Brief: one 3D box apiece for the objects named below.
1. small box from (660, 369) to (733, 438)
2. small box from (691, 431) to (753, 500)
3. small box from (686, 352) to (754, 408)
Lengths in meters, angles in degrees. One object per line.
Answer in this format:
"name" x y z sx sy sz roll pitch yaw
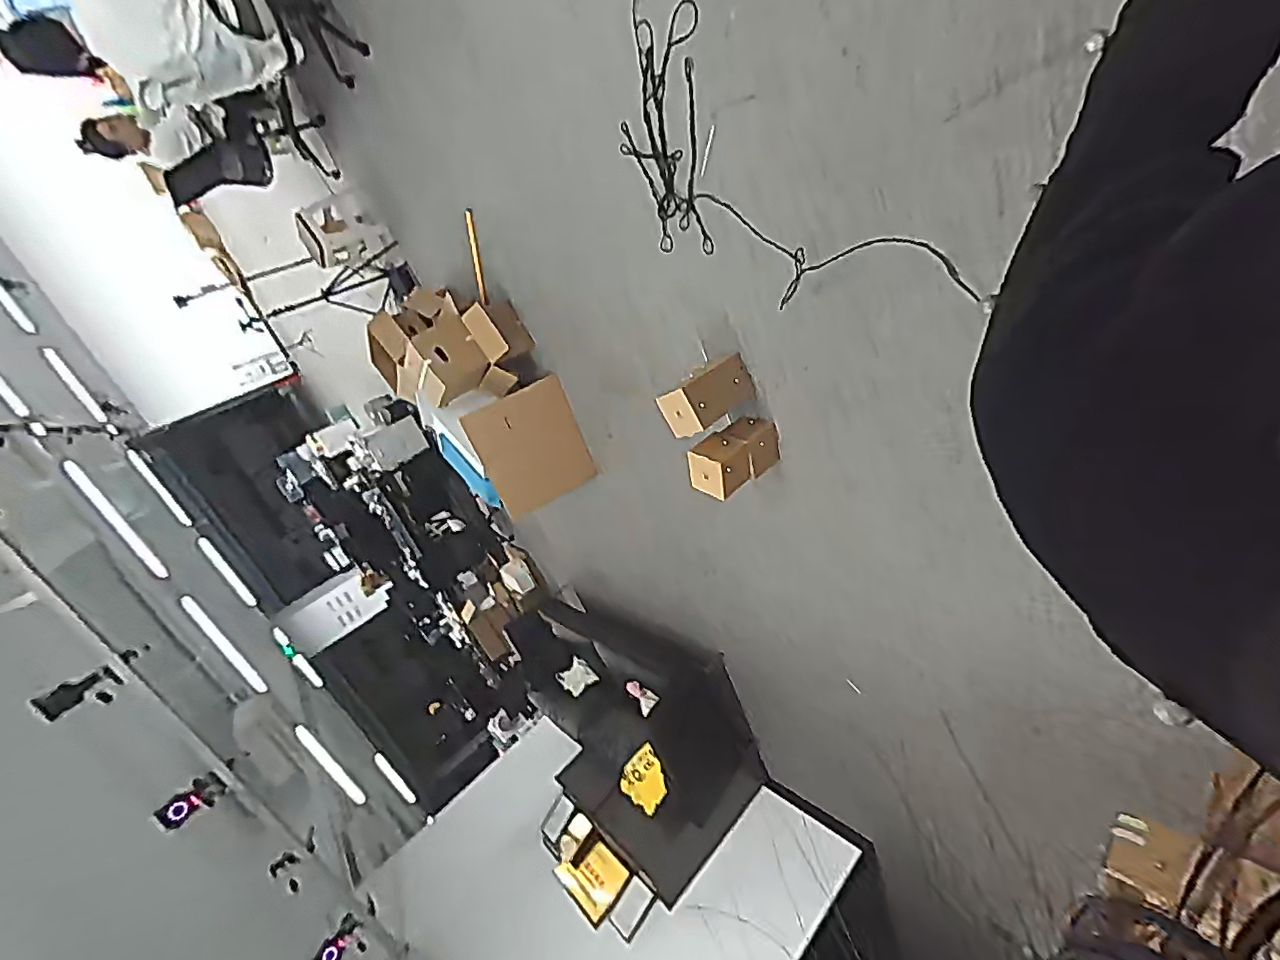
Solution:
"small box" 0.212 -0.282 1.997 0.168 0.176 0.179 -11 112 58
"small box" 0.322 -0.060 2.082 0.168 0.176 0.179 26 139 41
"small box" 0.316 -0.374 2.084 0.179 0.176 0.168 -2 119 57
